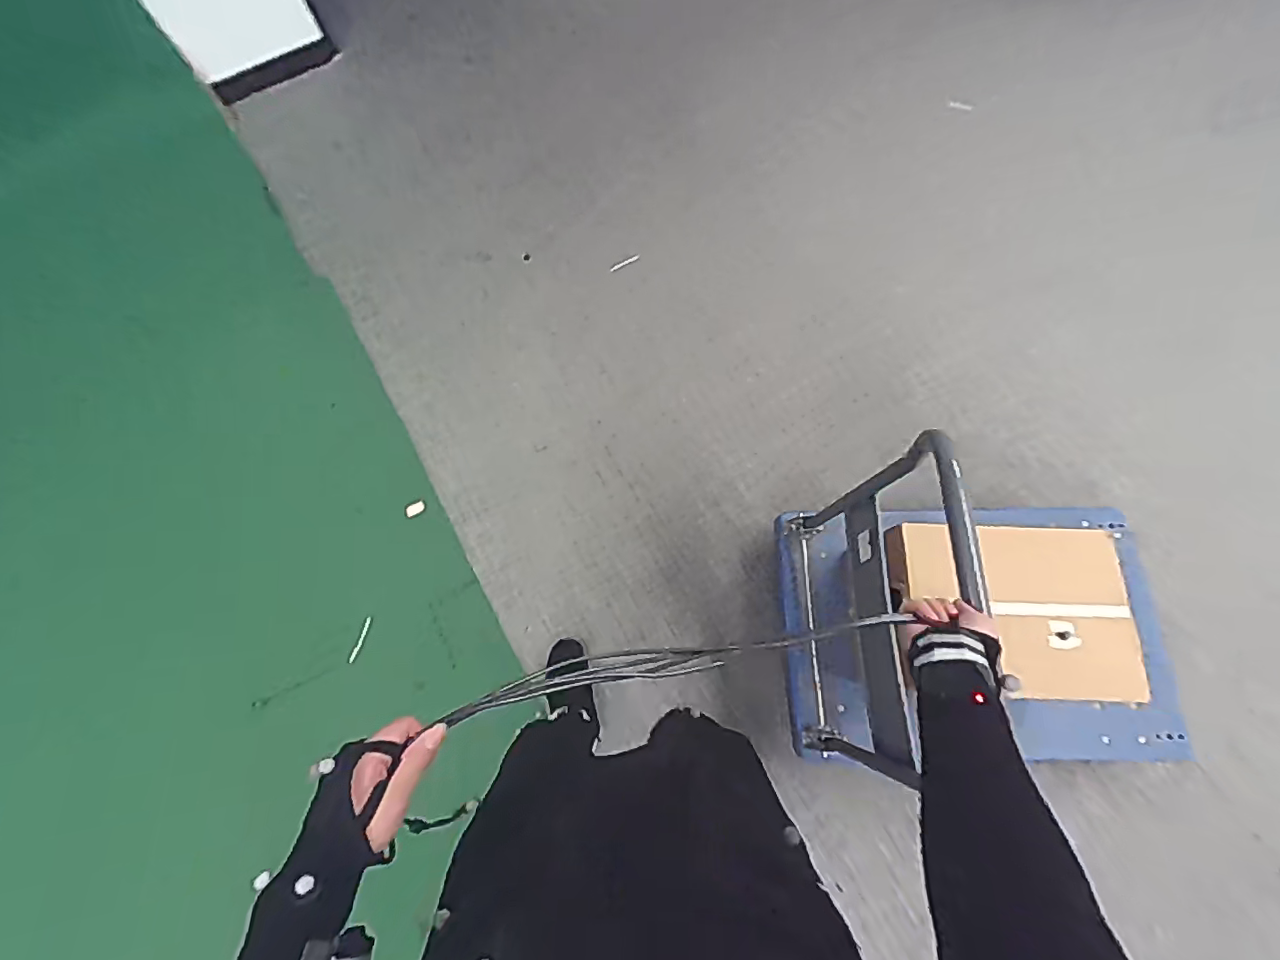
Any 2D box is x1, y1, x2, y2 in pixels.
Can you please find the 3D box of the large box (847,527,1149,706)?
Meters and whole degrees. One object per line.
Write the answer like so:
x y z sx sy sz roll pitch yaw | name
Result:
0.695 0.289 1.130 0.408 0.320 0.320 3 73 0 | large box
